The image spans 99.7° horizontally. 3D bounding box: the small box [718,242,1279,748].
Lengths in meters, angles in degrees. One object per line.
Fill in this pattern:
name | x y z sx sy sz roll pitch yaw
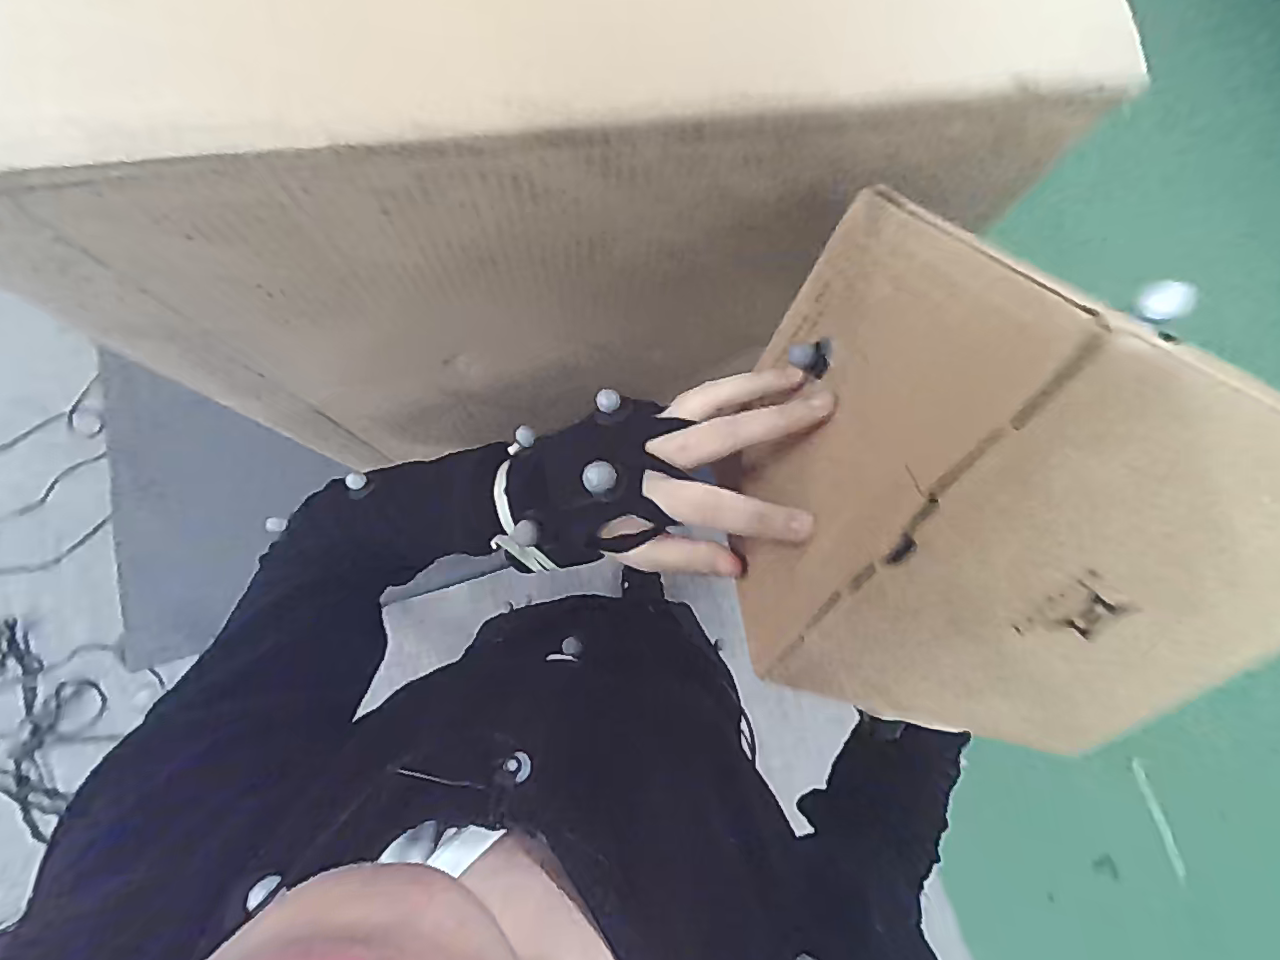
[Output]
small box | 0.158 0.004 0.276 0.179 0.168 0.176 19 34 -14
